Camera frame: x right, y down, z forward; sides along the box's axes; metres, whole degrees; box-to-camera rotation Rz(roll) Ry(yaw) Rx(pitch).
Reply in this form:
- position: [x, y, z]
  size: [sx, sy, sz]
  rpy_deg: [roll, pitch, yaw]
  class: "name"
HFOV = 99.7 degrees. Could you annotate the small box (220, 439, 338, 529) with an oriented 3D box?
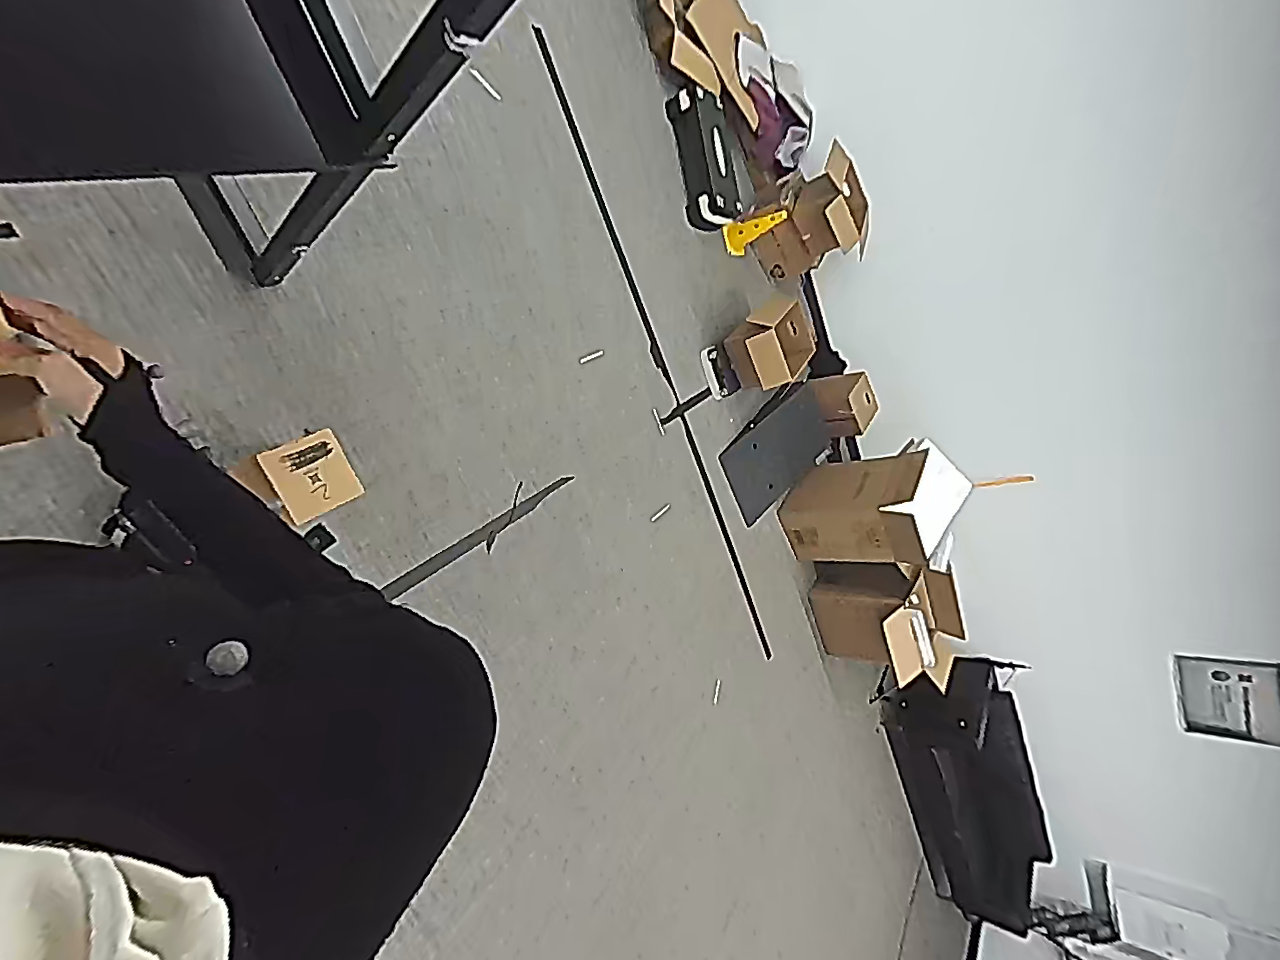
- position: [-0.918, 0.011, 1.374]
  size: [0.179, 0.176, 0.168]
  rpy_deg: [-39, 113, -42]
  class: "small box"
